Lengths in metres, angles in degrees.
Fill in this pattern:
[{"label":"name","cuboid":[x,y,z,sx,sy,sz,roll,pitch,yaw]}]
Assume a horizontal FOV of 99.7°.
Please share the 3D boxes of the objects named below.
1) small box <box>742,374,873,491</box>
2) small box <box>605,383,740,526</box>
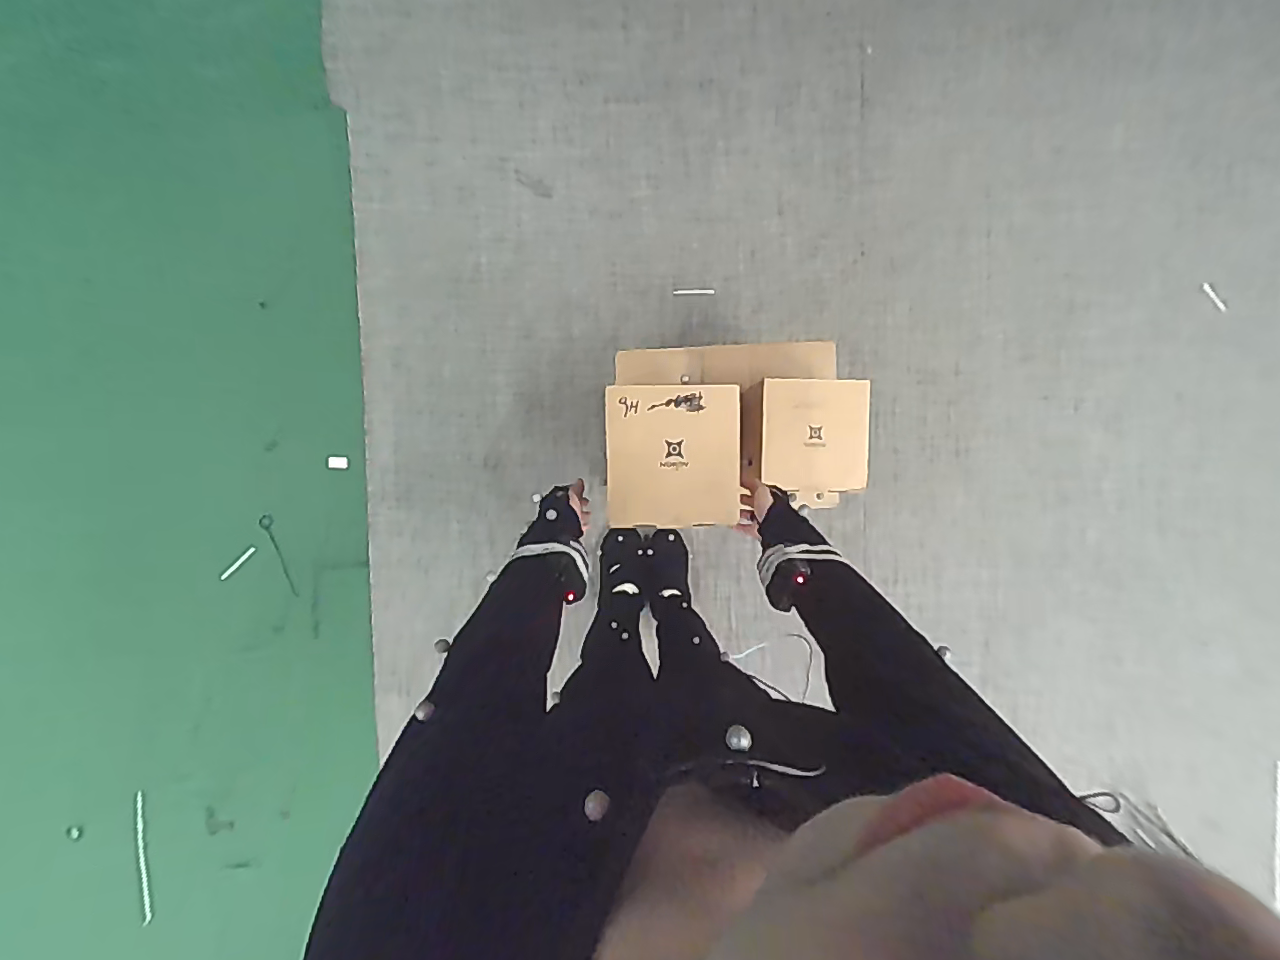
[{"label":"small box","cuboid":[0.268,-0.076,0.901,0.168,0.176,0.179,1,92,0]},{"label":"small box","cuboid":[0.038,-0.038,0.737,0.168,0.176,0.179,-1,95,-2]}]
